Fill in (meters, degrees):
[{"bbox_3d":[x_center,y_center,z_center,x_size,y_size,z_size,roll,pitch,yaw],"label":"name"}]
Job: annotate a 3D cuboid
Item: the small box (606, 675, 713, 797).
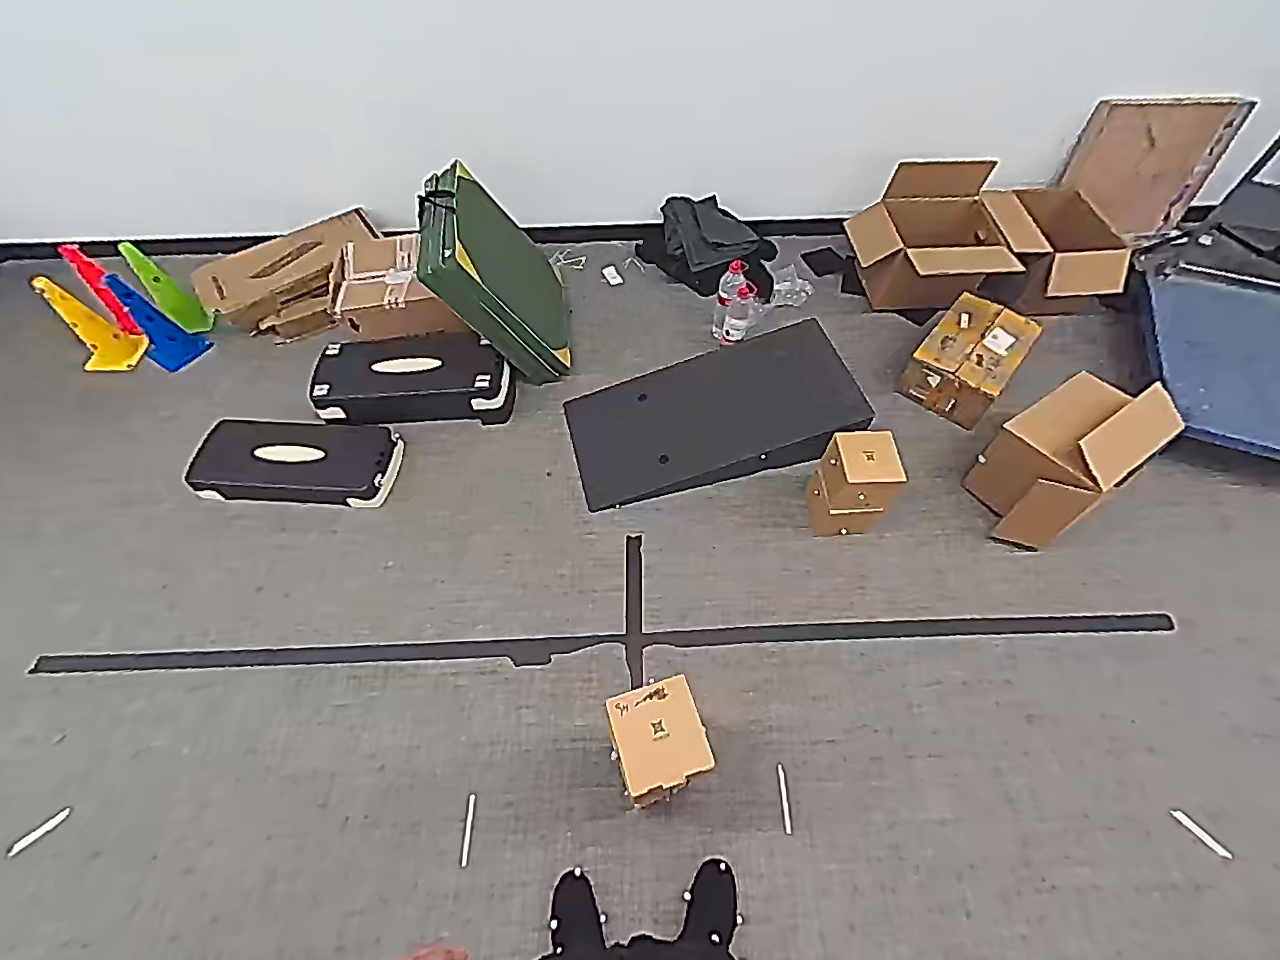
[{"bbox_3d":[0.035,0.518,1.089,0.168,0.176,0.179,-15,60,-9],"label":"small box"}]
